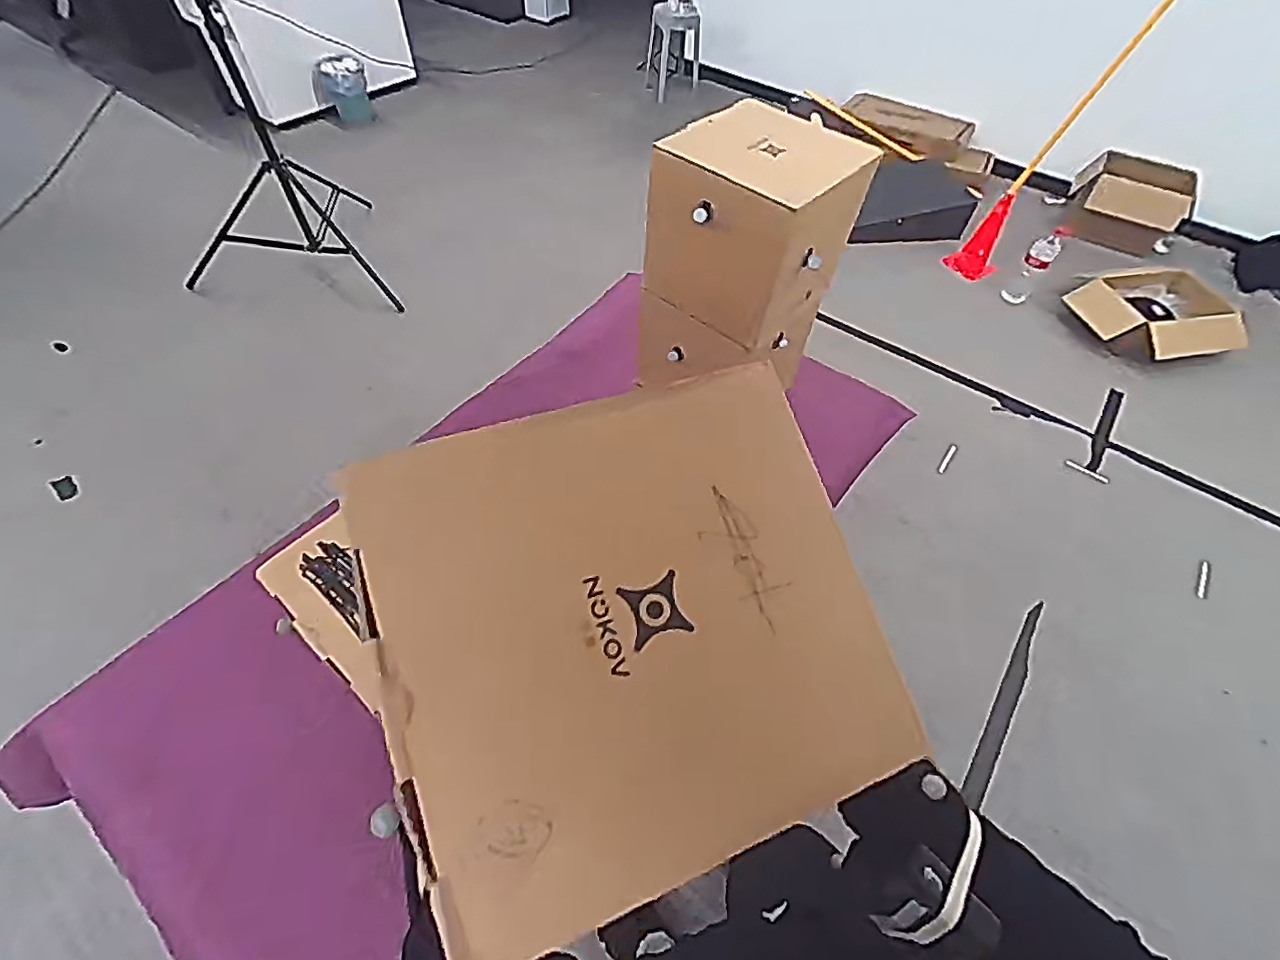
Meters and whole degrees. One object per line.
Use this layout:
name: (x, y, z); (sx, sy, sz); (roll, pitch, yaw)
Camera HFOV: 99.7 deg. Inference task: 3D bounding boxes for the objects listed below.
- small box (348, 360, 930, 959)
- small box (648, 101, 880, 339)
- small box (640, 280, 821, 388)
small box: (-0.012, 0.067, 0.269); (0.179, 0.176, 0.168); (-16, 79, -16)
small box: (0.125, -0.284, 0.609); (0.179, 0.176, 0.168); (37, 61, 22)
small box: (0.112, -0.192, 0.743); (0.179, 0.176, 0.168); (37, 61, 22)
